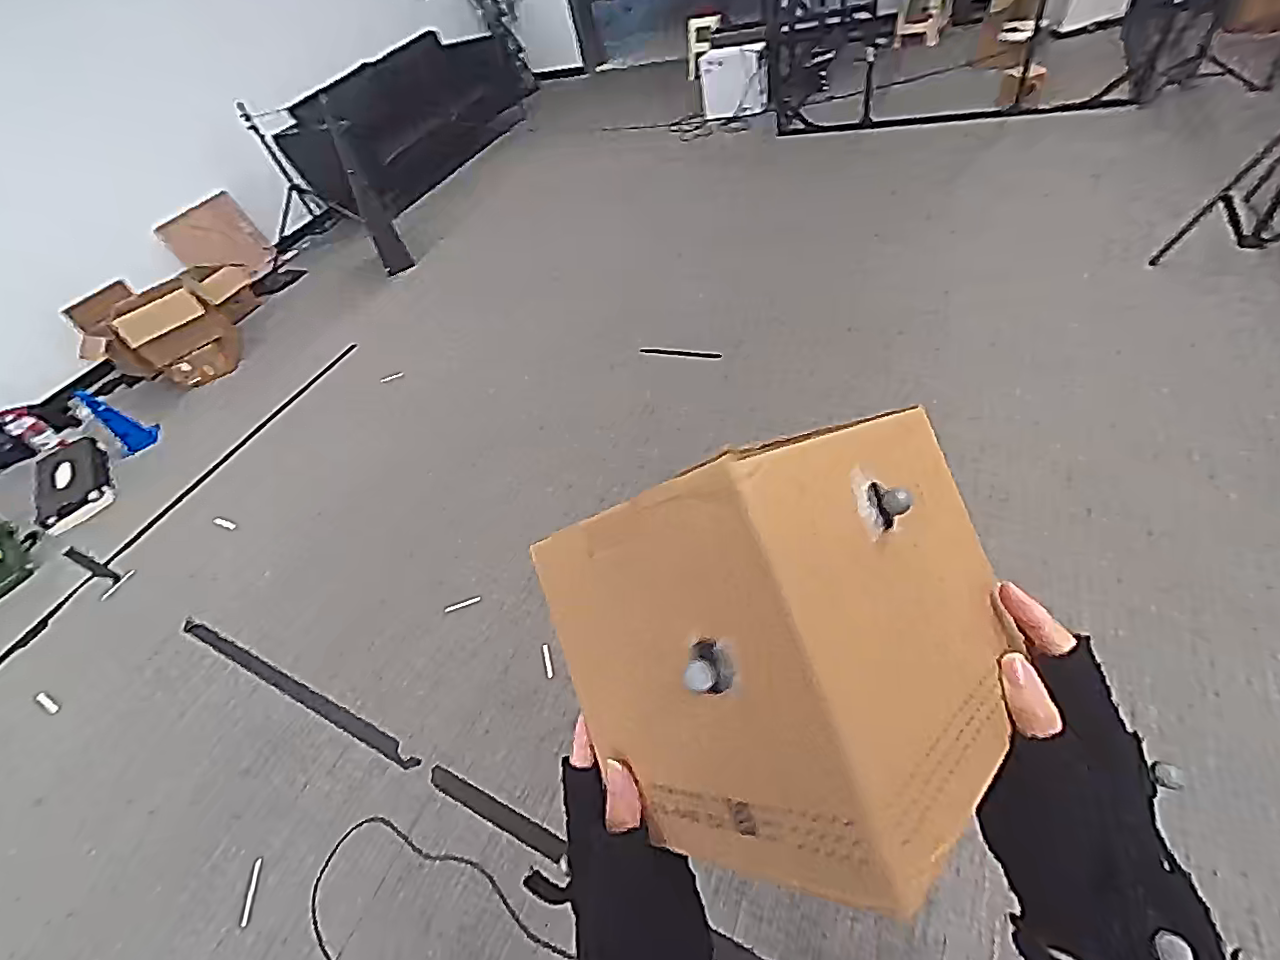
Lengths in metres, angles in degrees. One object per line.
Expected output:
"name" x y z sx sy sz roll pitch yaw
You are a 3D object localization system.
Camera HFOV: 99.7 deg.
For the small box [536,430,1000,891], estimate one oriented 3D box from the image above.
"small box" 0.073 0.088 0.315 0.179 0.168 0.176 -13 80 -42
